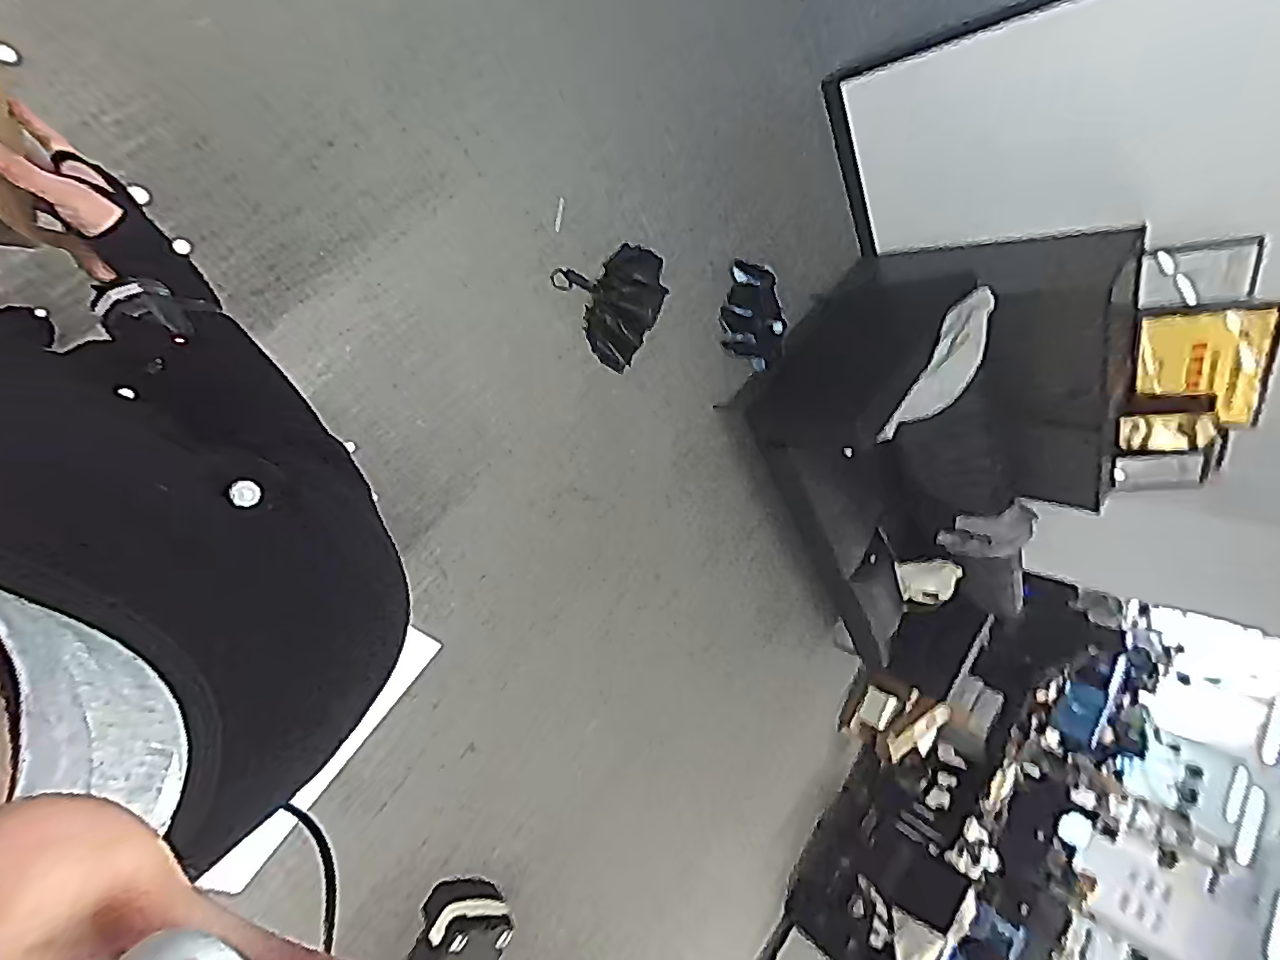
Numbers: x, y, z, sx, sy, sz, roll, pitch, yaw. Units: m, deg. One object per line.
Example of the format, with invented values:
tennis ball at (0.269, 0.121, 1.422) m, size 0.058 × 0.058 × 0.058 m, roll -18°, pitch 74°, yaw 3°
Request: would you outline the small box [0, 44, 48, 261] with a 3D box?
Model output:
small box at (-0.565, -0.270, 0.380) m, size 0.168 × 0.176 × 0.179 m, roll -8°, pitch 103°, yaw -37°
